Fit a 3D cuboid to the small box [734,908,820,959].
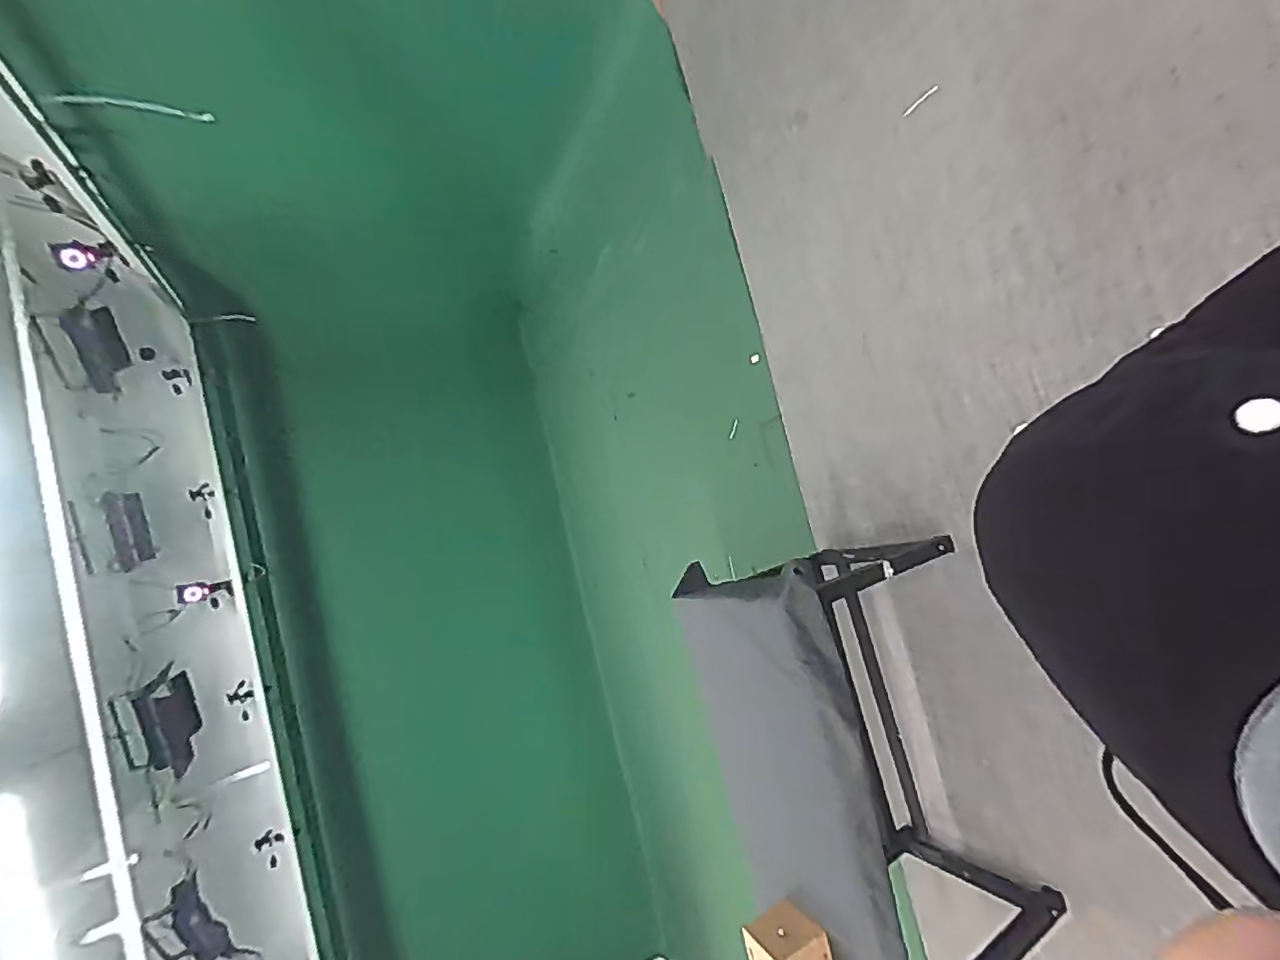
[{"bbox_3d":[0.398,1.368,1.524,0.179,0.176,0.168,-19,83,62],"label":"small box"}]
